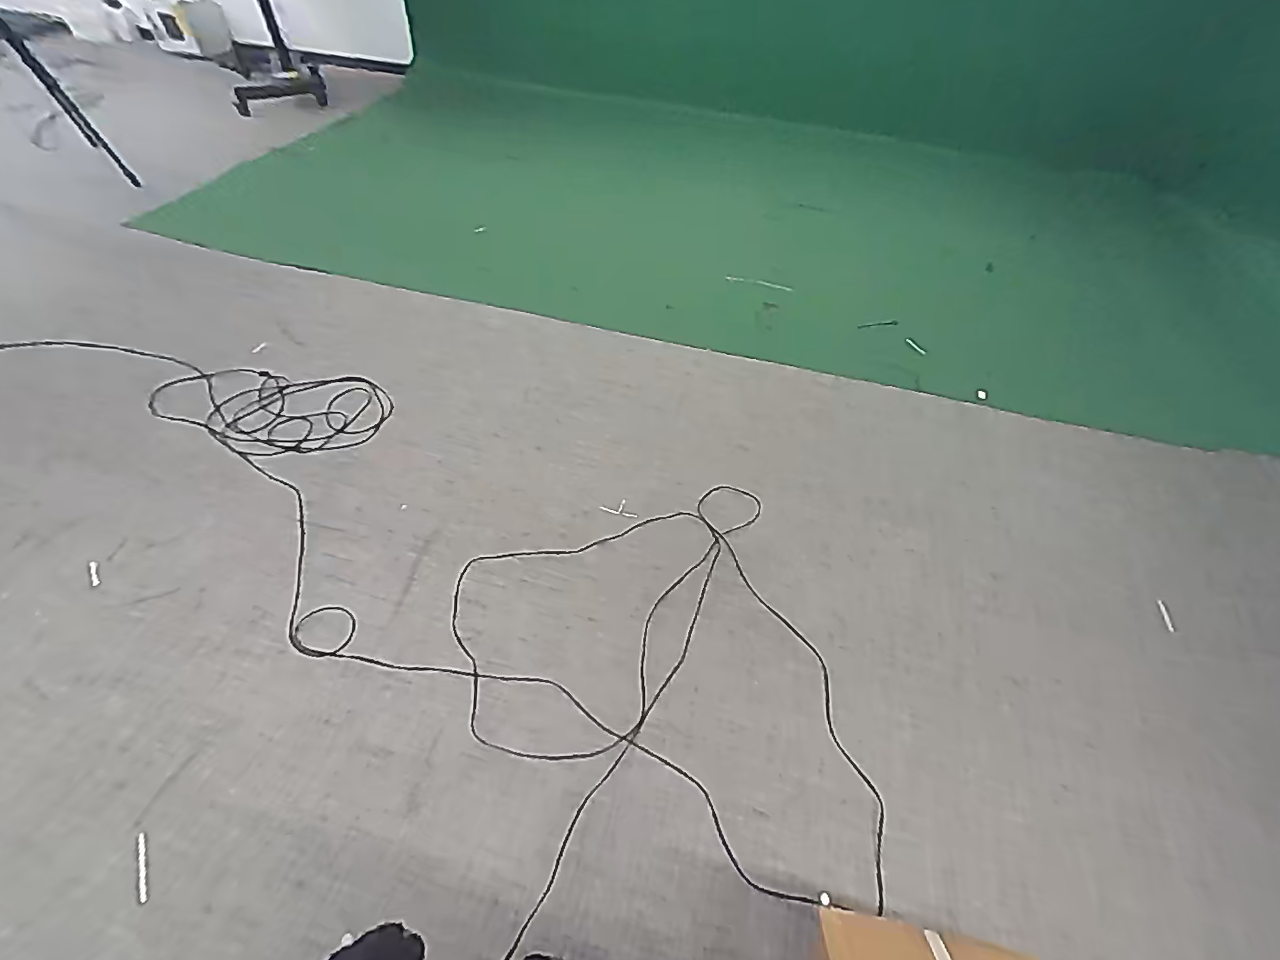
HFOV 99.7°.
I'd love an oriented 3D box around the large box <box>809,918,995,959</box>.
[{"bbox_3d":[0.363,0.822,0.595,0.320,0.408,0.320,9,89,8],"label":"large box"}]
